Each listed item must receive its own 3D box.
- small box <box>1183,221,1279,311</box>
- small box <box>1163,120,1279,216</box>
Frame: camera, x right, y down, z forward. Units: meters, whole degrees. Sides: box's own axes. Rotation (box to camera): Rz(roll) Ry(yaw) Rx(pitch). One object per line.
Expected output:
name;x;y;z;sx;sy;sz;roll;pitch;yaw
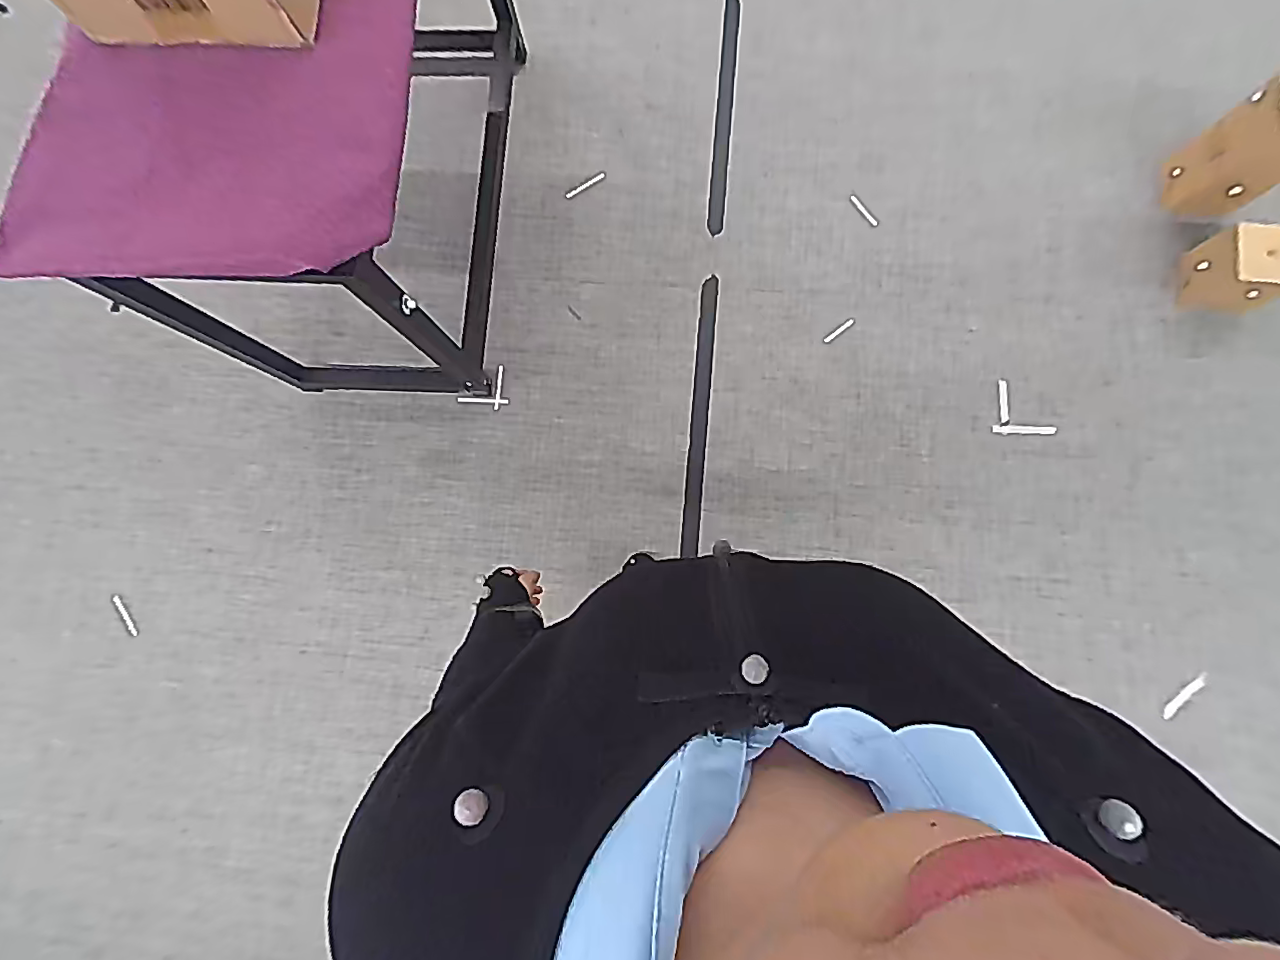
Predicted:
small box;1.650;-0.579;1.480;0.179;0.176;0.168;8;83;4
small box;1.647;-0.875;1.529;0.179;0.176;0.168;7;81;4
